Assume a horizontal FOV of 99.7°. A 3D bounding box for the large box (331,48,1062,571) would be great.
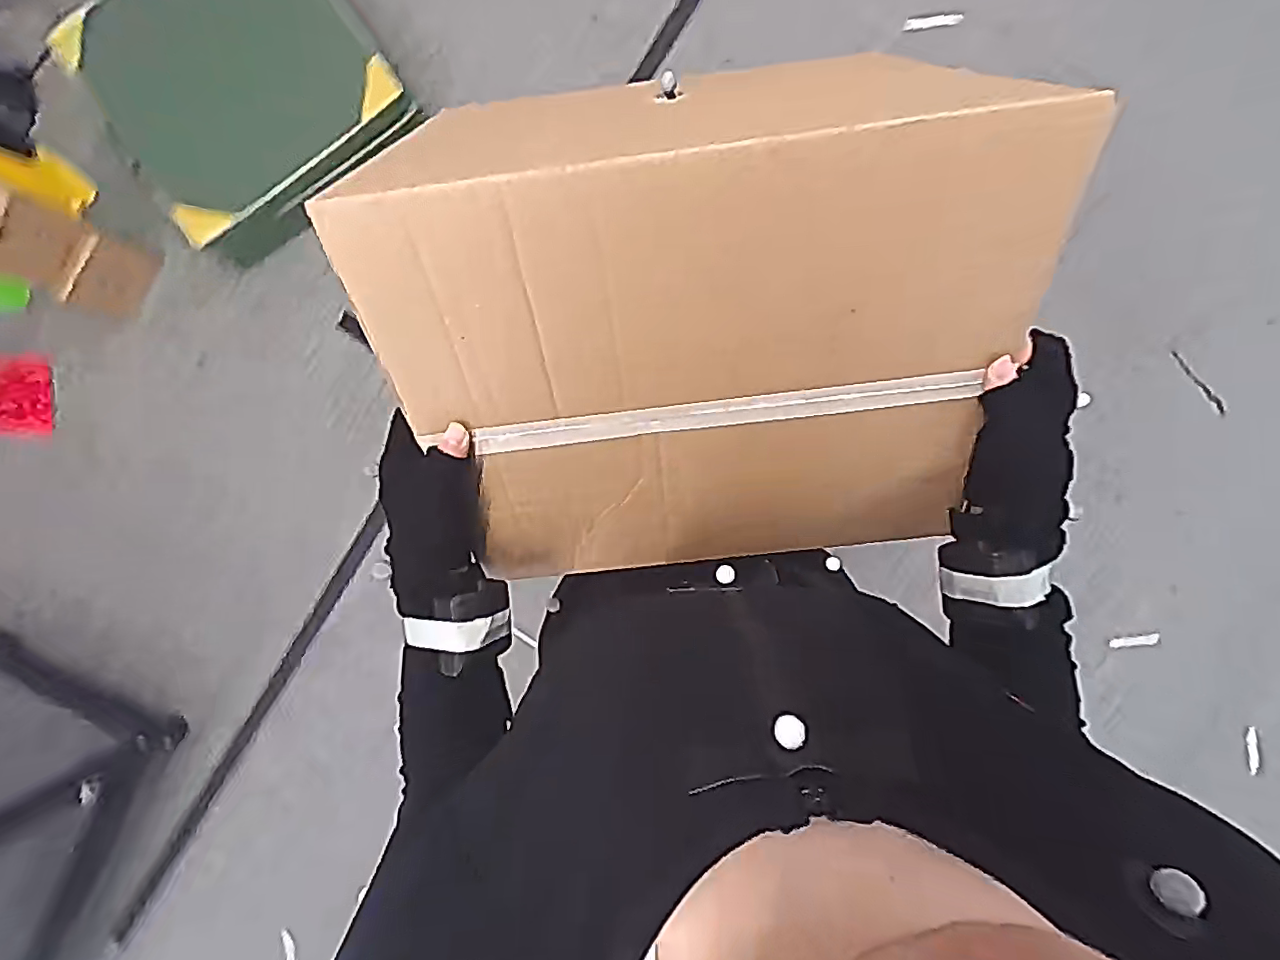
[{"bbox_3d":[0.037,-0.154,0.495,0.408,0.320,0.320,-8,132,3],"label":"large box"}]
